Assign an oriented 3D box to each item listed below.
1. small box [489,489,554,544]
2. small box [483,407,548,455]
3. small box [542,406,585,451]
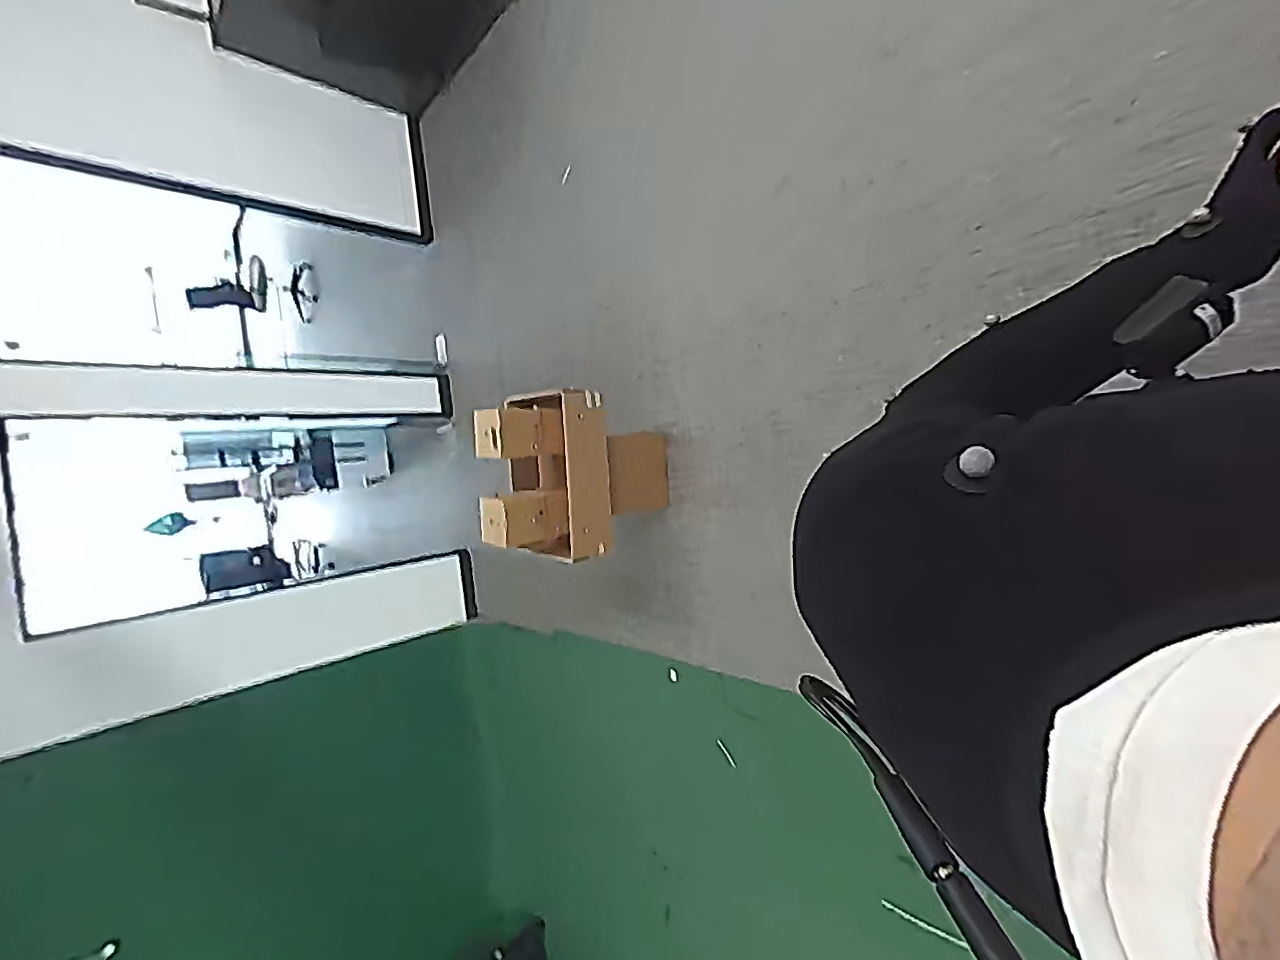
[{"bbox_3d":[-0.431,0.127,1.967,0.179,0.176,0.168,6,100,46],"label":"small box"},{"bbox_3d":[-0.442,-0.178,1.941,0.179,0.176,0.168,5,98,46],"label":"small box"},{"bbox_3d":[-0.328,-0.194,2.059,0.179,0.176,0.168,3,97,45],"label":"small box"}]
